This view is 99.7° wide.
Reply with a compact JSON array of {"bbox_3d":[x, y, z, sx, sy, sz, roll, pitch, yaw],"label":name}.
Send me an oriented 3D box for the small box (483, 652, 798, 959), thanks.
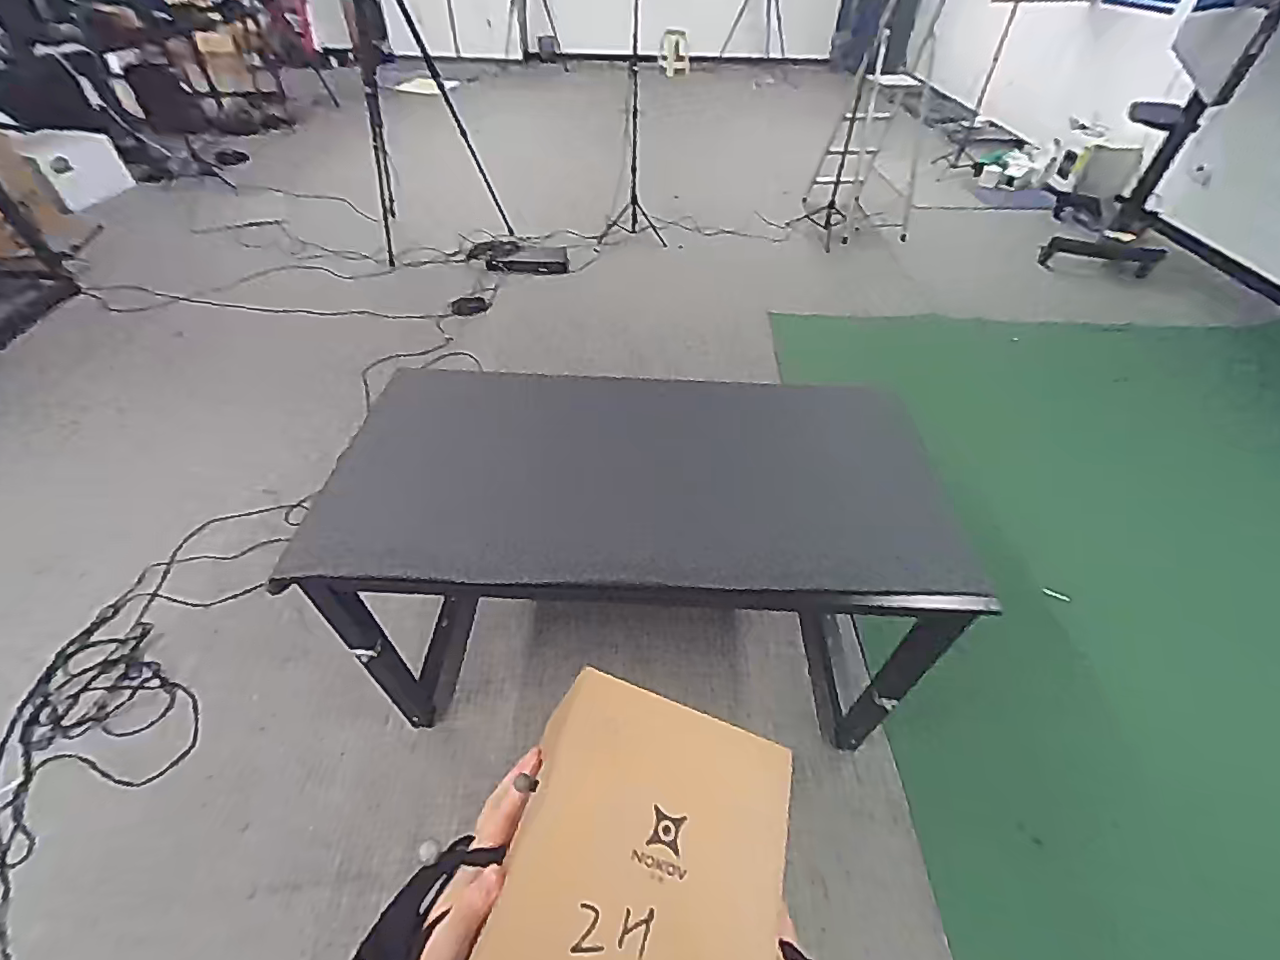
[{"bbox_3d":[-0.004,0.263,0.398,0.168,0.176,0.179,23,49,-2],"label":"small box"}]
